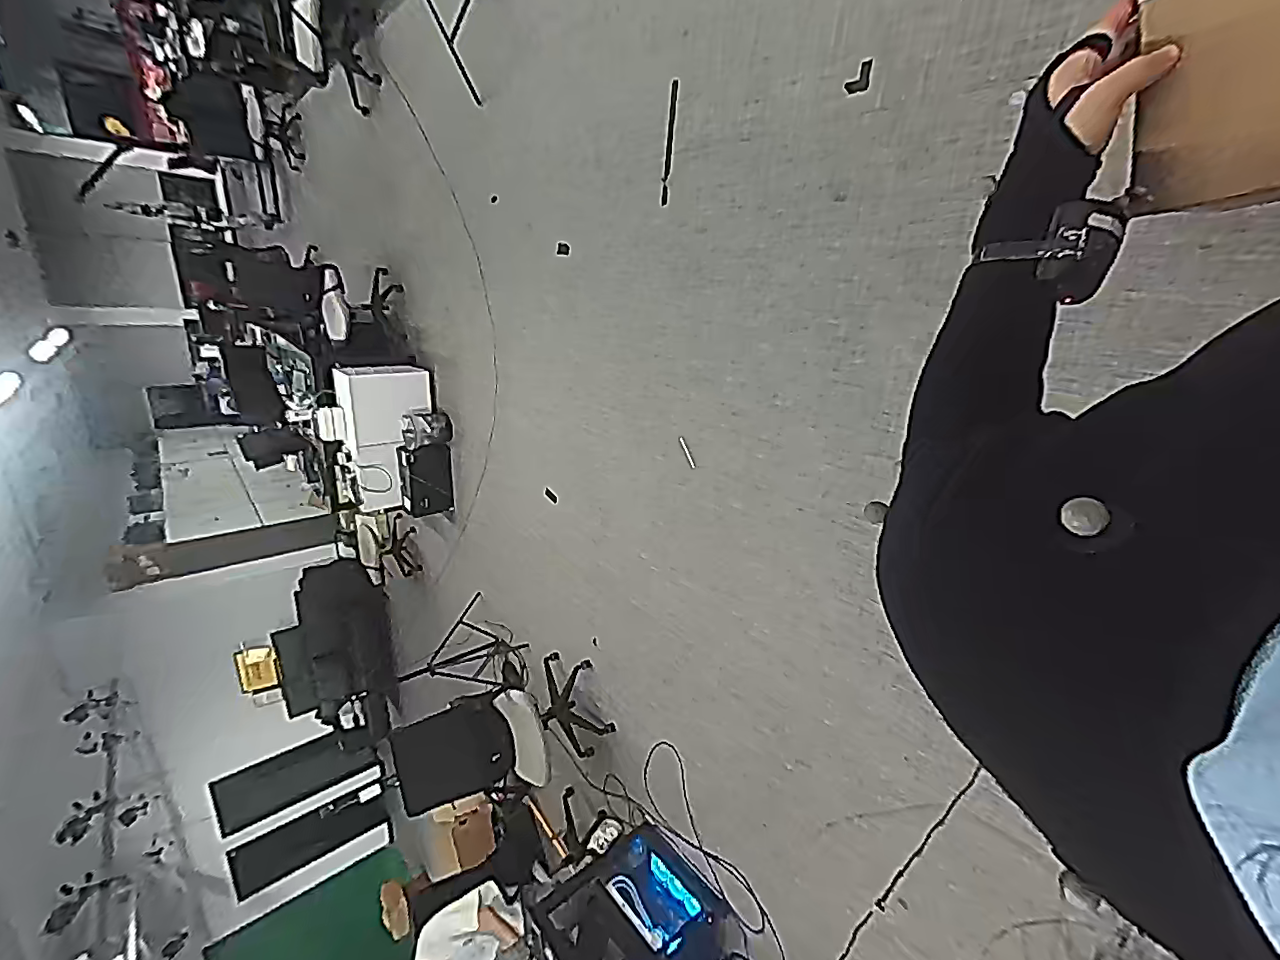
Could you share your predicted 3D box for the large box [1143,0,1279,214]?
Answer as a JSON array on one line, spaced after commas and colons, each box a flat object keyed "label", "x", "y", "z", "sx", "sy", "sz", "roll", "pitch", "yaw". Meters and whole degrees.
[{"label": "large box", "x": 0.607, "y": -0.383, "z": 0.313, "sx": 0.408, "sy": 0.320, "sz": 0.320, "roll": 9, "pitch": 113, "yaw": 55}]
